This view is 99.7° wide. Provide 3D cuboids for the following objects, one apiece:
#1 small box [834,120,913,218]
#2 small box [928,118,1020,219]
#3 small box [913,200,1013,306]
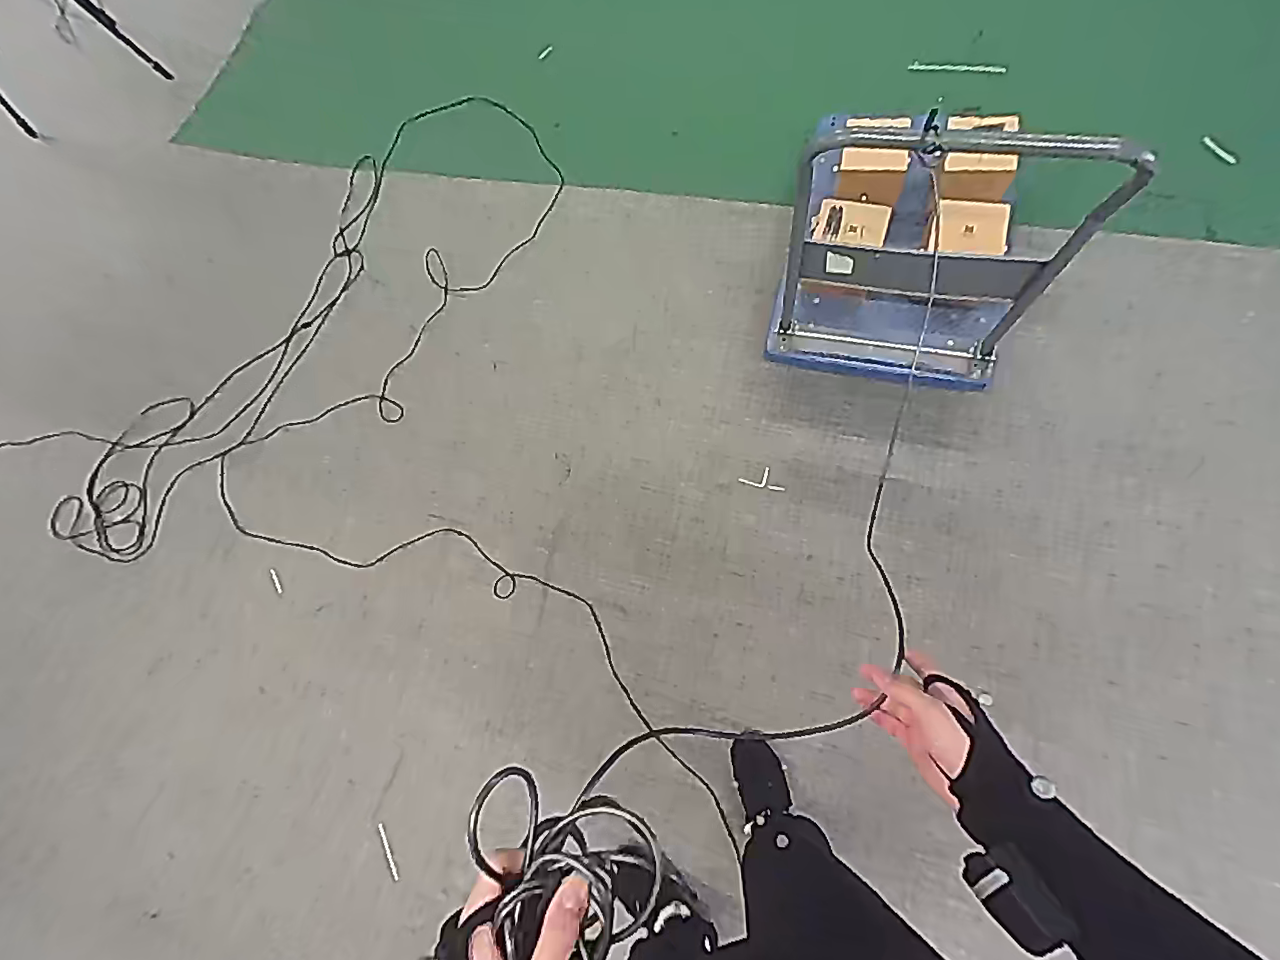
[{"bbox_3d":[0.643,-0.858,1.503,0.168,0.176,0.179,9,74,14],"label":"small box"},{"bbox_3d":[0.884,-0.825,1.442,0.168,0.176,0.179,8,75,15],"label":"small box"},{"bbox_3d":[0.812,-0.573,1.374,0.168,0.176,0.179,13,76,15],"label":"small box"}]
